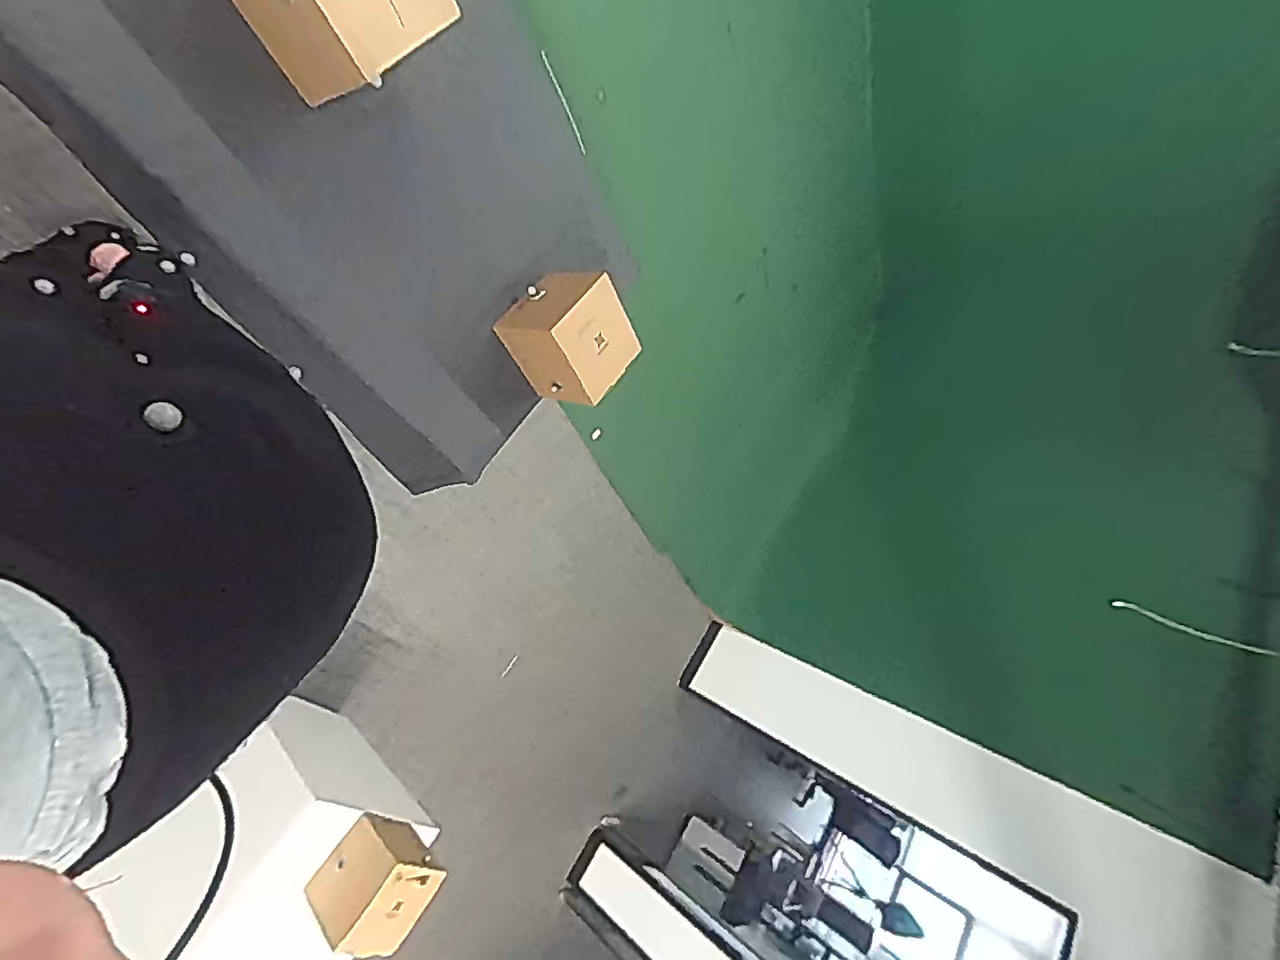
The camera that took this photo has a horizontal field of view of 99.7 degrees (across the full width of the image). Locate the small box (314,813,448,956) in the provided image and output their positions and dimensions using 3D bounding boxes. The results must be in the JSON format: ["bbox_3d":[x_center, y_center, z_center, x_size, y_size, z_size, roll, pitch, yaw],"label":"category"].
[{"bbox_3d":[-0.557,0.859,1.154,0.179,0.176,0.168,-53,138,-21],"label":"small box"}]

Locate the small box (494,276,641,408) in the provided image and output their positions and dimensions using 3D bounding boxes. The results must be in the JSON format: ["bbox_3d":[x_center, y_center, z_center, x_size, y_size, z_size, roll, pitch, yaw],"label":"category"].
[{"bbox_3d":[-0.134,-0.262,1.014,0.168,0.176,0.179,-55,138,-22],"label":"small box"}]

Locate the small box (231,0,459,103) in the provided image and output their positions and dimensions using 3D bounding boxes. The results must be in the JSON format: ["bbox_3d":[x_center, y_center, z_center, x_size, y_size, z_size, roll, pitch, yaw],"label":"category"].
[{"bbox_3d":[-0.355,-0.572,0.615,0.168,0.176,0.179,-55,141,-21],"label":"small box"}]
